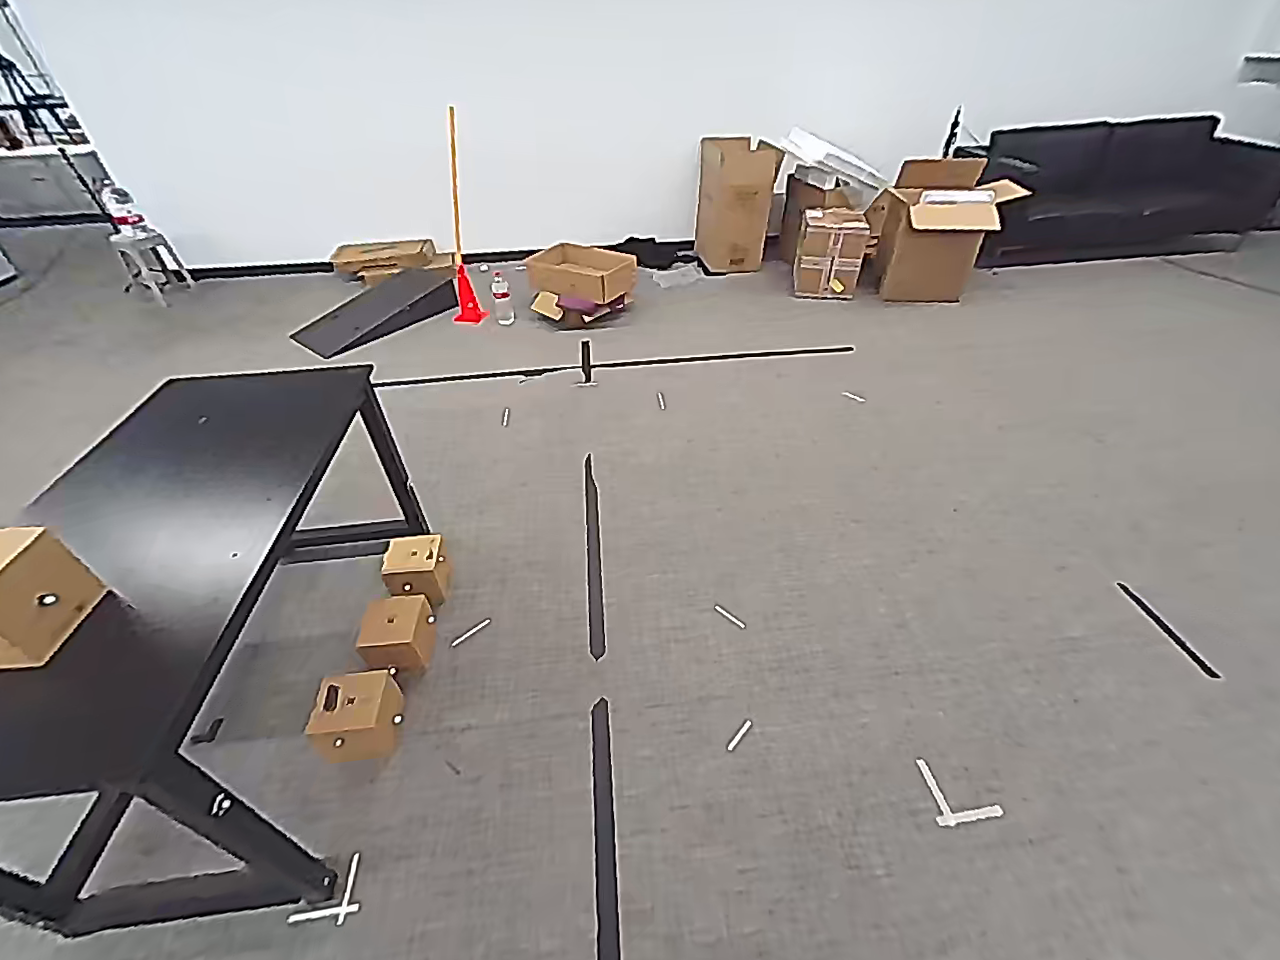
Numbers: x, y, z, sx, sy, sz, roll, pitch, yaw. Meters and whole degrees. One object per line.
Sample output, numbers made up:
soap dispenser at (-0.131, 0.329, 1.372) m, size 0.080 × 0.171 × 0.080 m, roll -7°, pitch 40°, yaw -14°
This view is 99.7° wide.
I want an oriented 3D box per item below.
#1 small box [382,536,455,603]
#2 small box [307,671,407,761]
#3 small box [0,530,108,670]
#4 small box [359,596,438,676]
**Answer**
small box at (-0.768, 0.319, 1.890) m, size 0.179 × 0.176 × 0.168 m, roll -6°, pitch 41°, yaw -4°
small box at (-0.771, 0.655, 1.495) m, size 0.179 × 0.176 × 0.168 m, roll -5°, pitch 41°, yaw -5°
small box at (-1.081, 0.204, 0.912) m, size 0.179 × 0.176 × 0.168 m, roll -3°, pitch 40°, yaw -1°
small box at (-0.744, 0.490, 1.691) m, size 0.168 × 0.176 × 0.179 m, roll -6°, pitch 41°, yaw -4°
